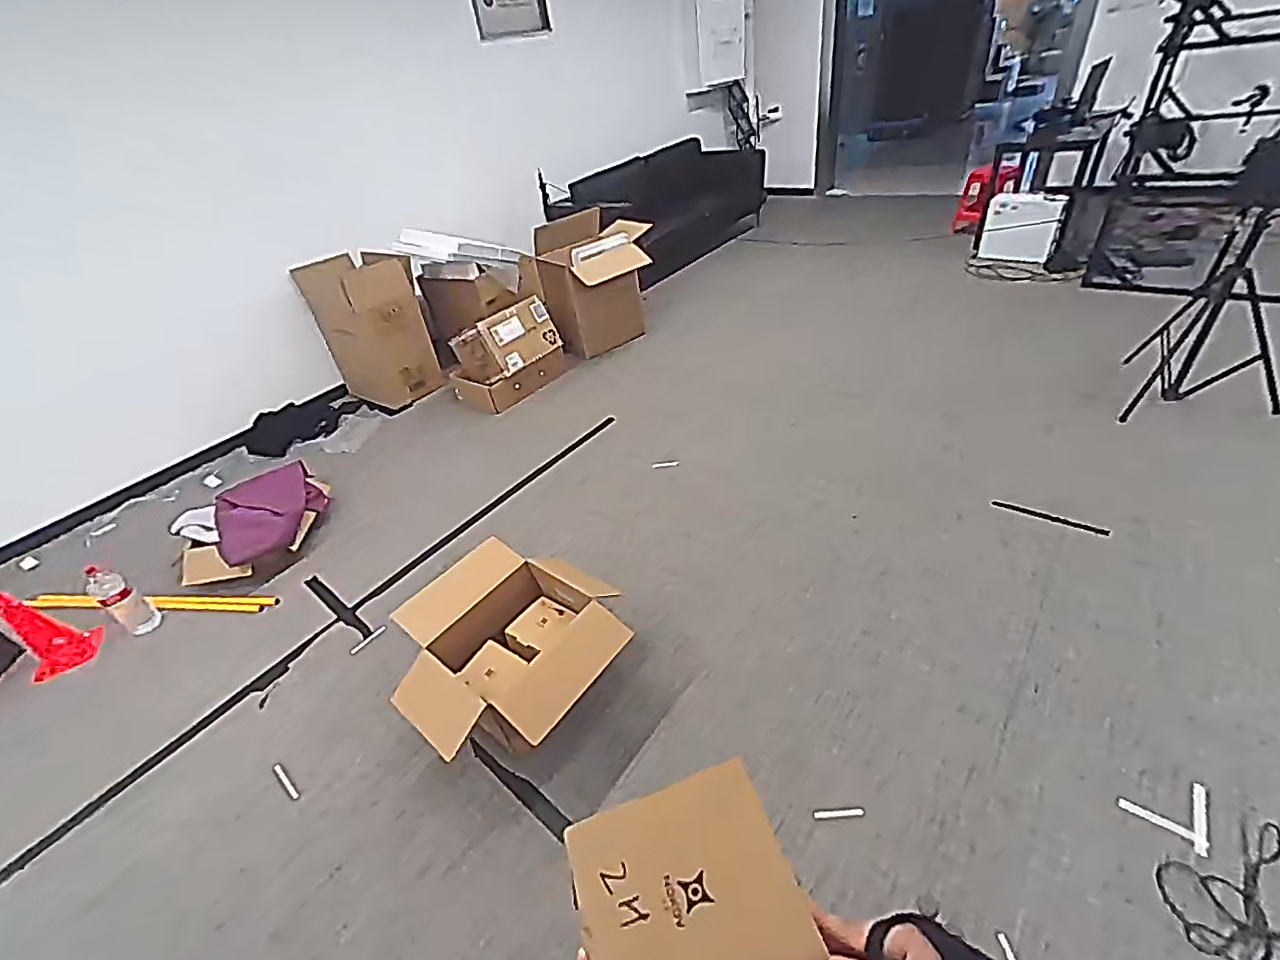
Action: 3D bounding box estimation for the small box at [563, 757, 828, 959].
[{"bbox_3d":[0.046,0.394,0.493,0.179,0.176,0.168,-19,40,-8],"label":"small box"}]
